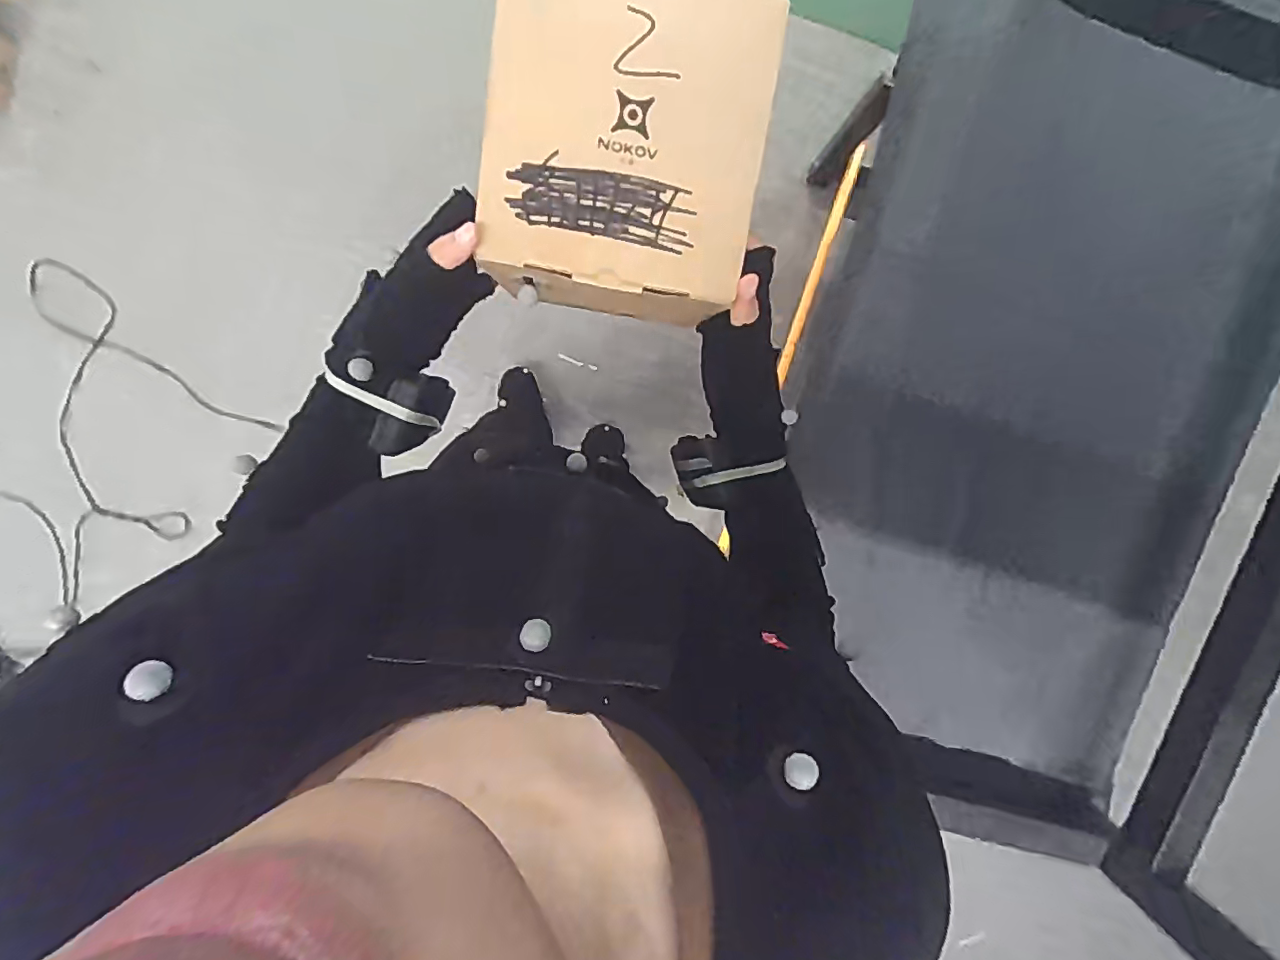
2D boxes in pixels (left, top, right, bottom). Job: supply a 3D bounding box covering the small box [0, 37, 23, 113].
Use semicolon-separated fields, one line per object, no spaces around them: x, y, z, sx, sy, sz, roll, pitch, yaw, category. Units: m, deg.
-1.589;-0.977;1.223;0.179;0.176;0.168;19;96;-5;small box
